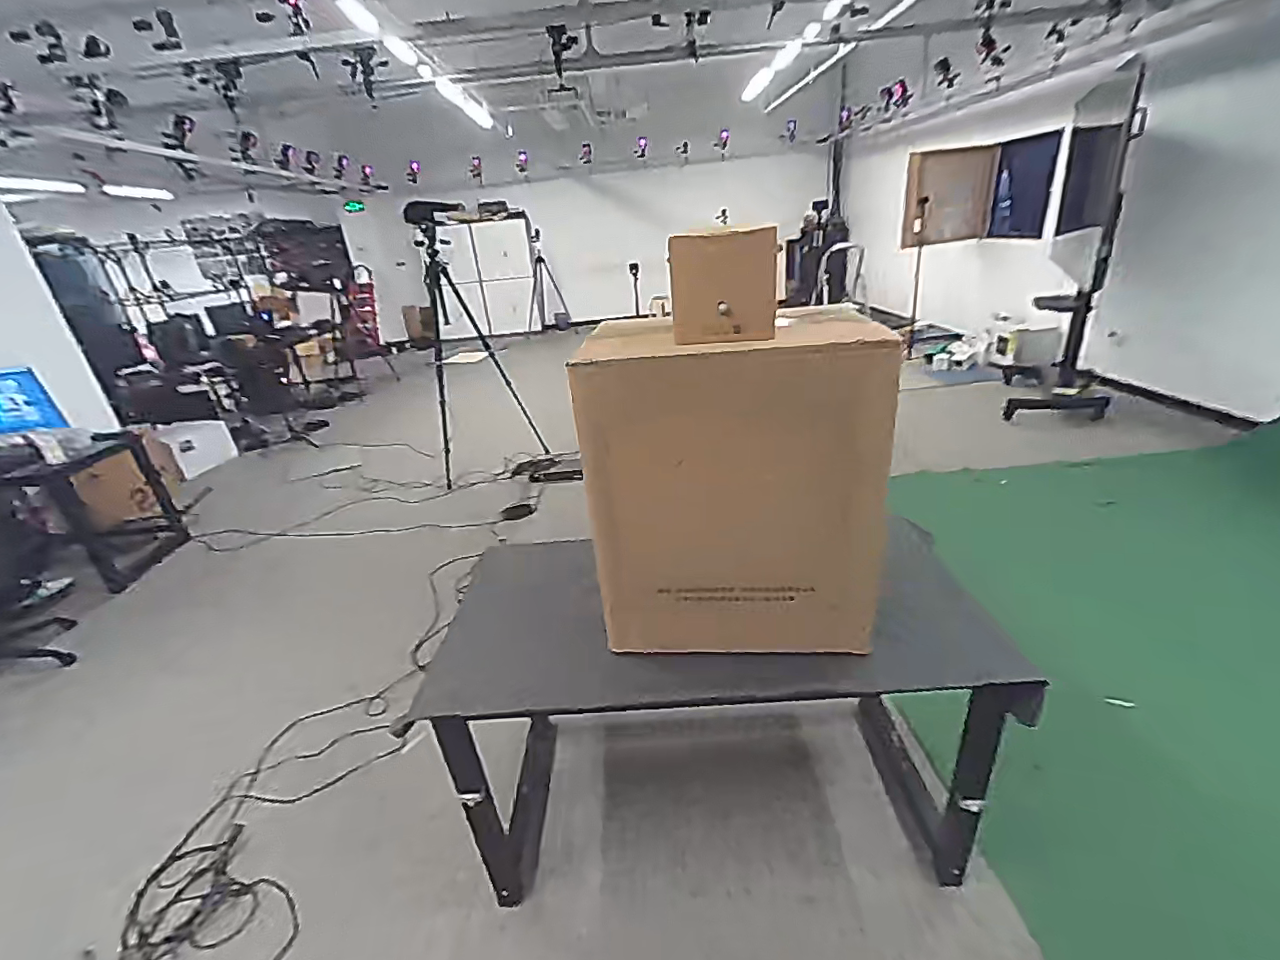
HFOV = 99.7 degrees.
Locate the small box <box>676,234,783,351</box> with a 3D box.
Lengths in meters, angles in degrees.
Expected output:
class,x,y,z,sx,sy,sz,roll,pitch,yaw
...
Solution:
class,x,y,z,sx,sy,sz,roll,pitch,yaw
small box,0.156,-0.326,0.938,0.168,0.176,0.179,0,27,11
